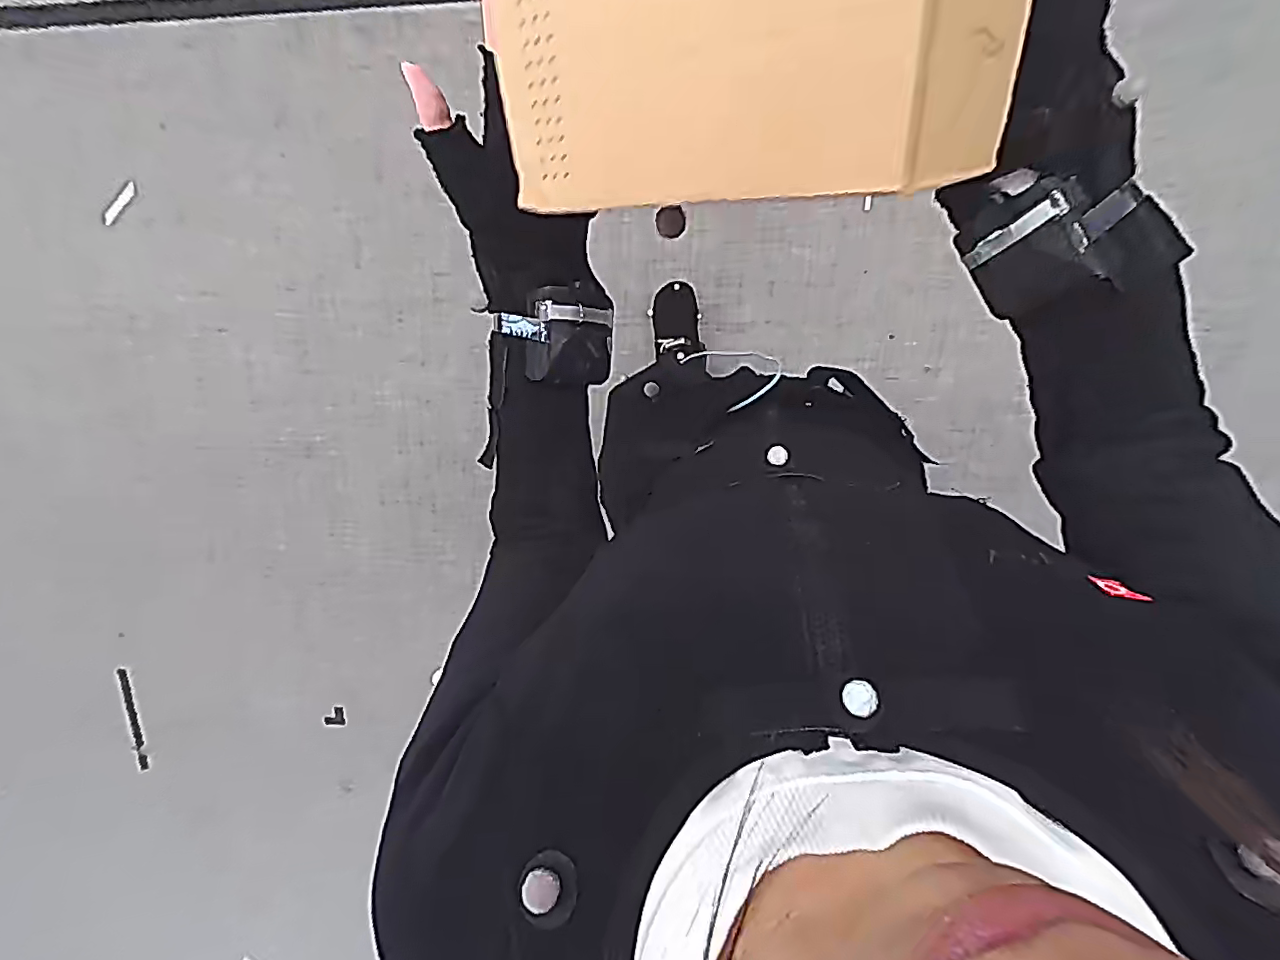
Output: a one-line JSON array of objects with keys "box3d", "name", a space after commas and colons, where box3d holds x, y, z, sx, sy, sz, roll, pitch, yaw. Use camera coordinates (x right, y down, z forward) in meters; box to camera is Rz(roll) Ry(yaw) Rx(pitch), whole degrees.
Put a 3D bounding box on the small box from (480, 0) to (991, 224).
[{"box3d": [0.043, -0.216, 0.230, 0.176, 0.168, 0.179, 16, 125, 35], "name": "small box"}]
